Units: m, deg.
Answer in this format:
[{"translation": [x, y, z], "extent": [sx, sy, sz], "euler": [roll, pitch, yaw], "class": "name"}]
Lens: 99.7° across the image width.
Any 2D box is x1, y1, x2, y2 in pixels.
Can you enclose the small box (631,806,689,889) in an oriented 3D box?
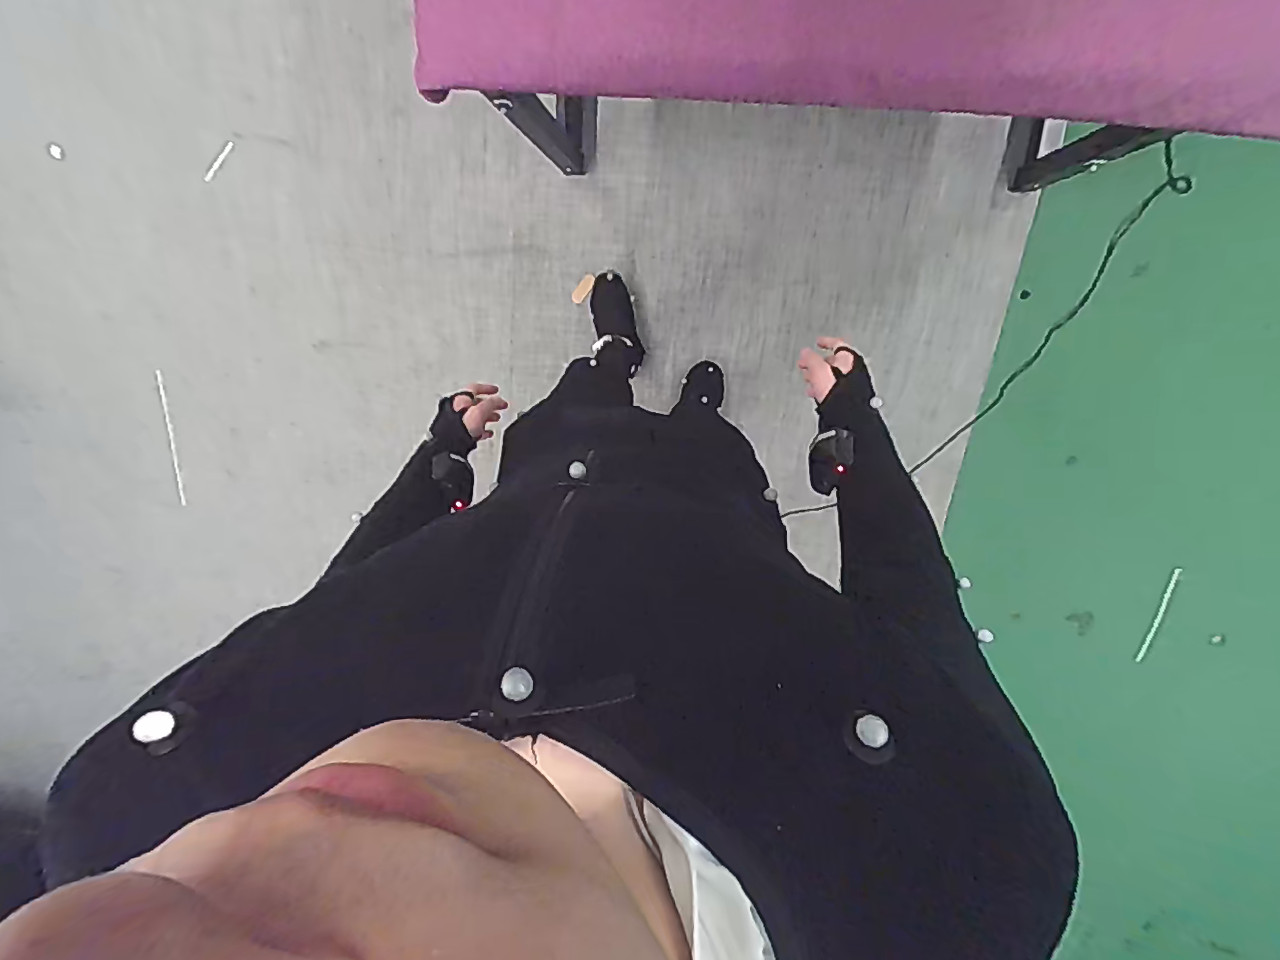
[{"translation": [0.077, 1.332, 1.971], "extent": [0.179, 0.176, 0.168], "euler": [12, 108, 5], "class": "small box"}]
